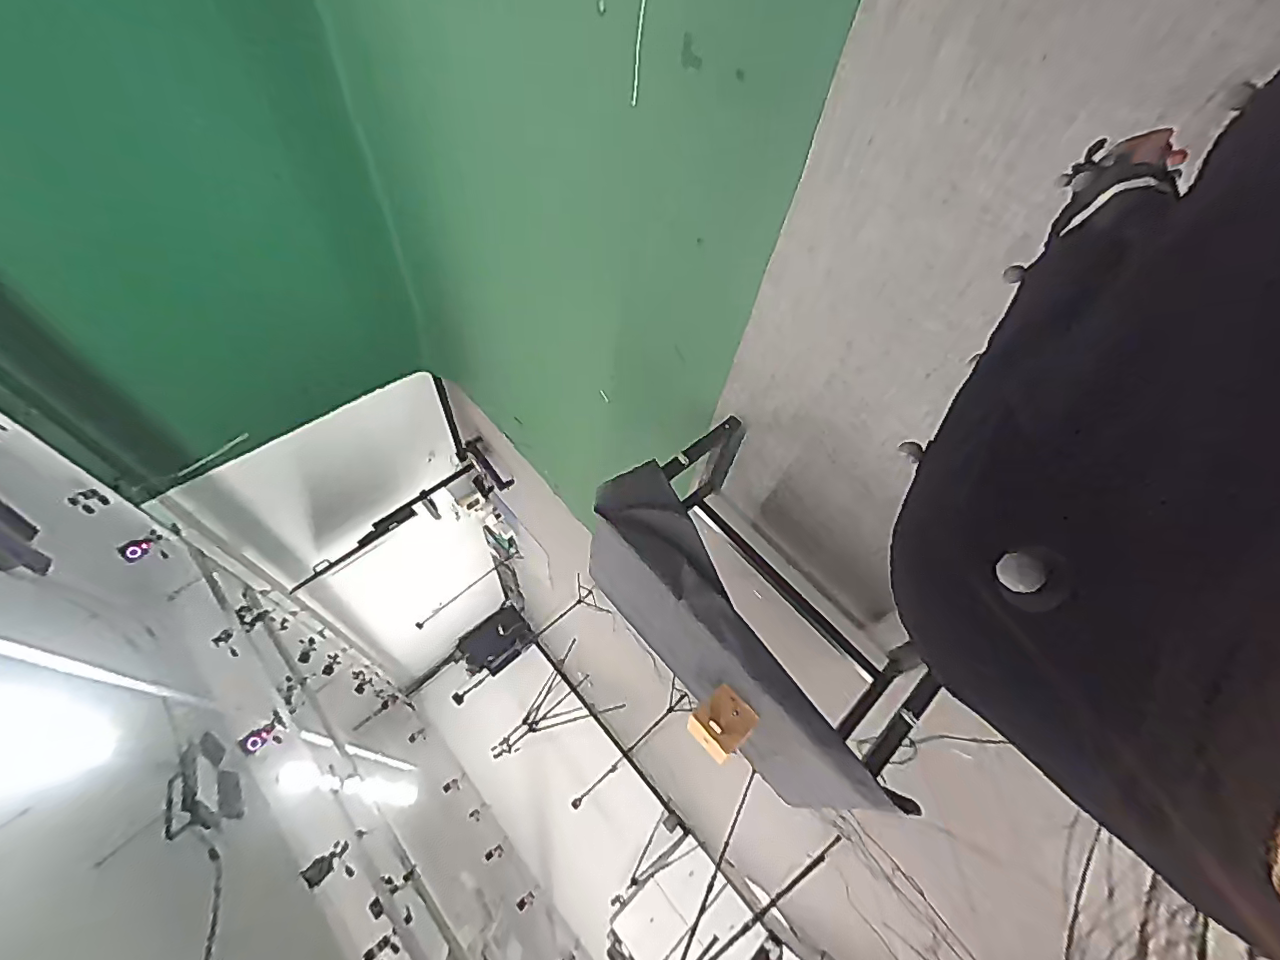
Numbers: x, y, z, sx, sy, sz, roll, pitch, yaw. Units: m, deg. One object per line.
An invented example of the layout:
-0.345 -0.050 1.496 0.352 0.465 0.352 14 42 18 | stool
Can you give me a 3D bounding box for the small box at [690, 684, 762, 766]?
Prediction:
0.293 0.834 1.843 0.168 0.176 0.179 41 152 26 | small box
